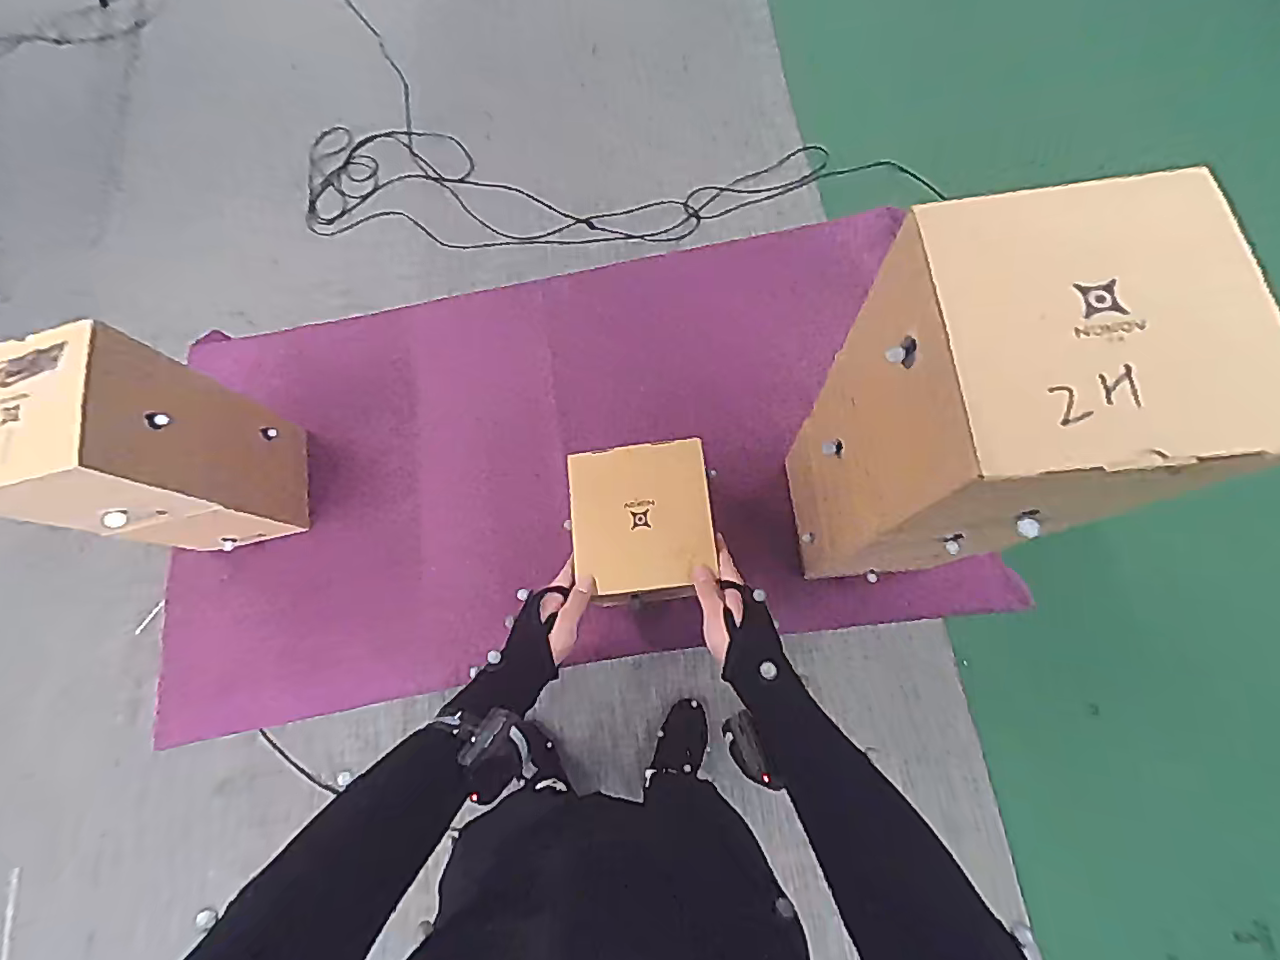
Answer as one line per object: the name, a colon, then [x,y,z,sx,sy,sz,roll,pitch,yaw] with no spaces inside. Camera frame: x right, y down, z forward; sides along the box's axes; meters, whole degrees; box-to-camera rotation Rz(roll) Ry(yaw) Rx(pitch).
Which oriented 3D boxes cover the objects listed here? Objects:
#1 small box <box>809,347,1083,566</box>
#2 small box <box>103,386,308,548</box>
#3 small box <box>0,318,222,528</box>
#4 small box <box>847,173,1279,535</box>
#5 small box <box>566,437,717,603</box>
small box: [0.272,-0.020,0.529,0.168,0.176,0.179,-6,72,6]
small box: [-0.618,-0.010,0.792,0.168,0.176,0.179,-12,74,3]
small box: [-0.634,-0.056,0.635,0.168,0.176,0.179,-13,74,3]
small box: [0.255,-0.067,0.372,0.168,0.176,0.179,-5,74,6]
small box: [0.008,0.063,0.706,0.168,0.176,0.179,-8,72,5]
